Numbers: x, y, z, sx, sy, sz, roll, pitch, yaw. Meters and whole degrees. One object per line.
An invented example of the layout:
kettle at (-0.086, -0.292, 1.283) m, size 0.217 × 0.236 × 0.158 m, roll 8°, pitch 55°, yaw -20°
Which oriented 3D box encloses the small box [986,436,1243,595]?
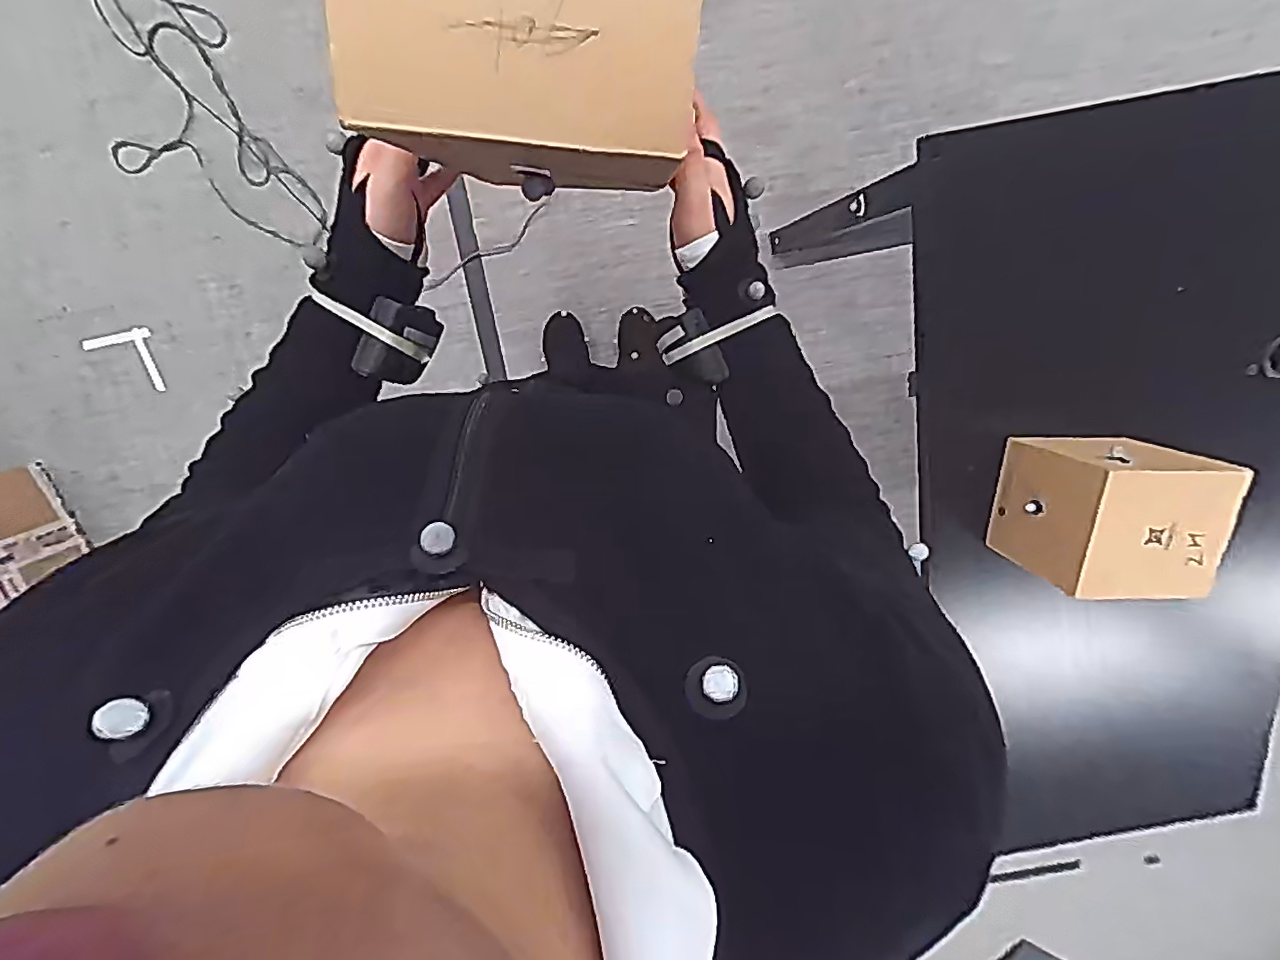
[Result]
small box at (0.605, 0.039, 0.719) m, size 0.179 × 0.176 × 0.168 m, roll 0°, pitch 107°, yaw -4°

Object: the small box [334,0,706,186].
small box at (-0.052, -0.275, 0.299) m, size 0.168 × 0.176 × 0.179 m, roll 4°, pitch 115°, yaw -2°
